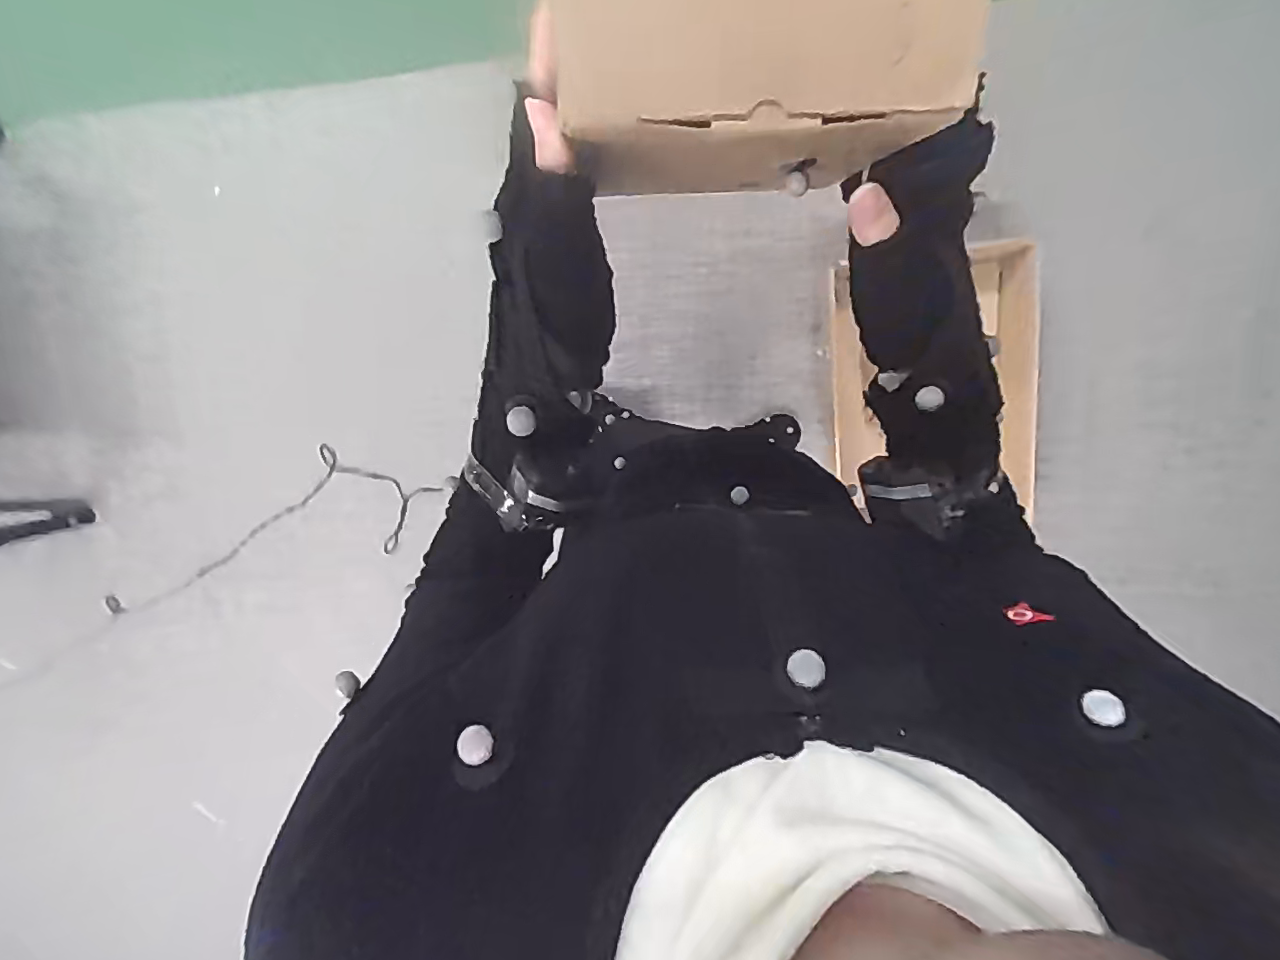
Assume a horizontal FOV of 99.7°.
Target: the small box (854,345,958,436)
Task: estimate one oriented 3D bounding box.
[{"bbox_3d":[0.581,-0.198,1.197,0.168,0.176,0.179,-5,99,8],"label":"small box"}]
